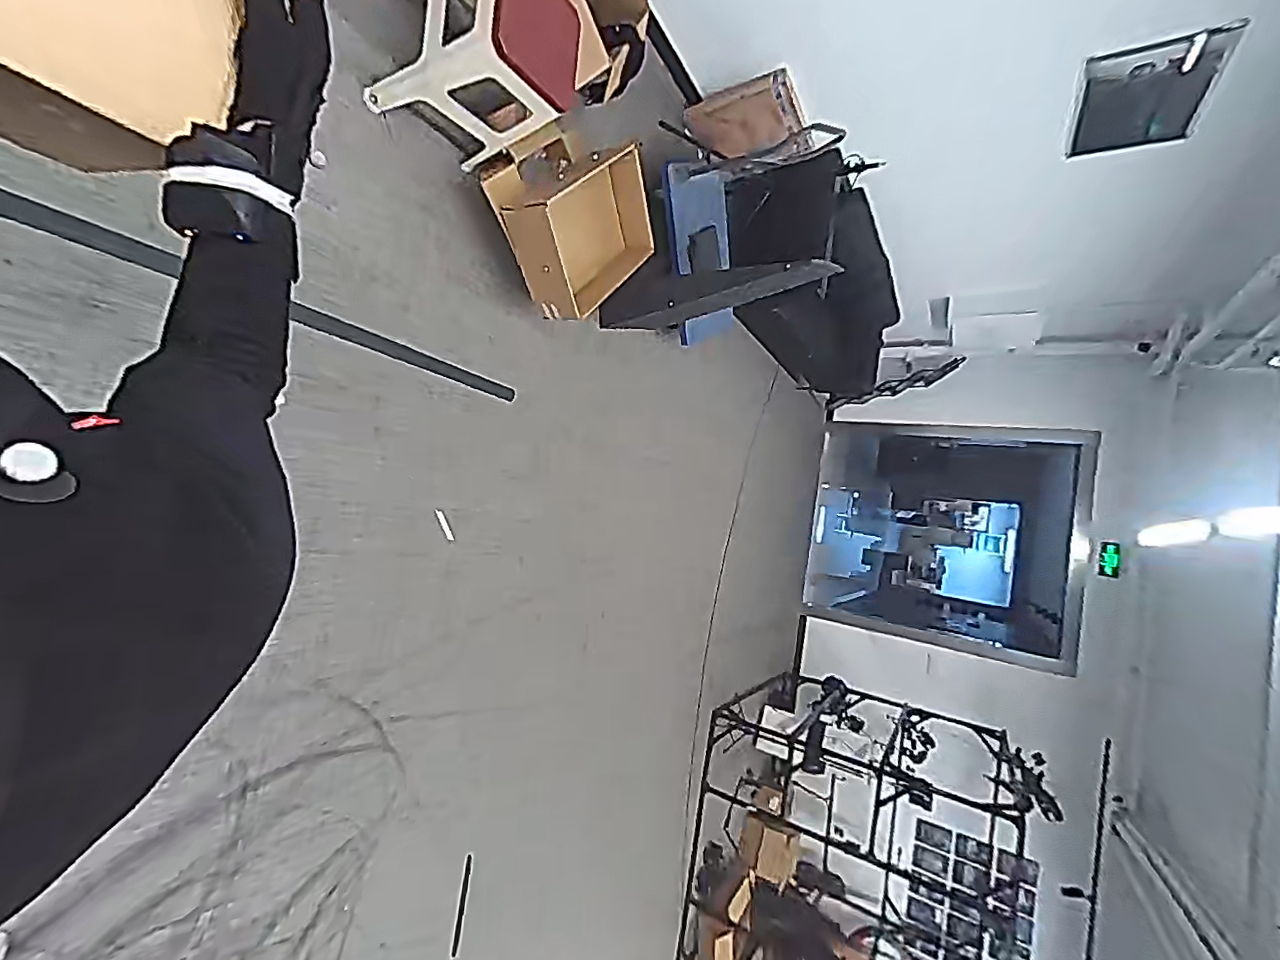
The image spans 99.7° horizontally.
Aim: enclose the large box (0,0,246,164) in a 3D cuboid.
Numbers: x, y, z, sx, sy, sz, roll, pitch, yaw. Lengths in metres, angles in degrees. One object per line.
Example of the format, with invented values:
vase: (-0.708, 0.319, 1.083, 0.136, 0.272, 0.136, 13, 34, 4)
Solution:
large box: (-0.516, -0.447, 0.311, 0.408, 0.320, 0.320, 11, 98, -62)
